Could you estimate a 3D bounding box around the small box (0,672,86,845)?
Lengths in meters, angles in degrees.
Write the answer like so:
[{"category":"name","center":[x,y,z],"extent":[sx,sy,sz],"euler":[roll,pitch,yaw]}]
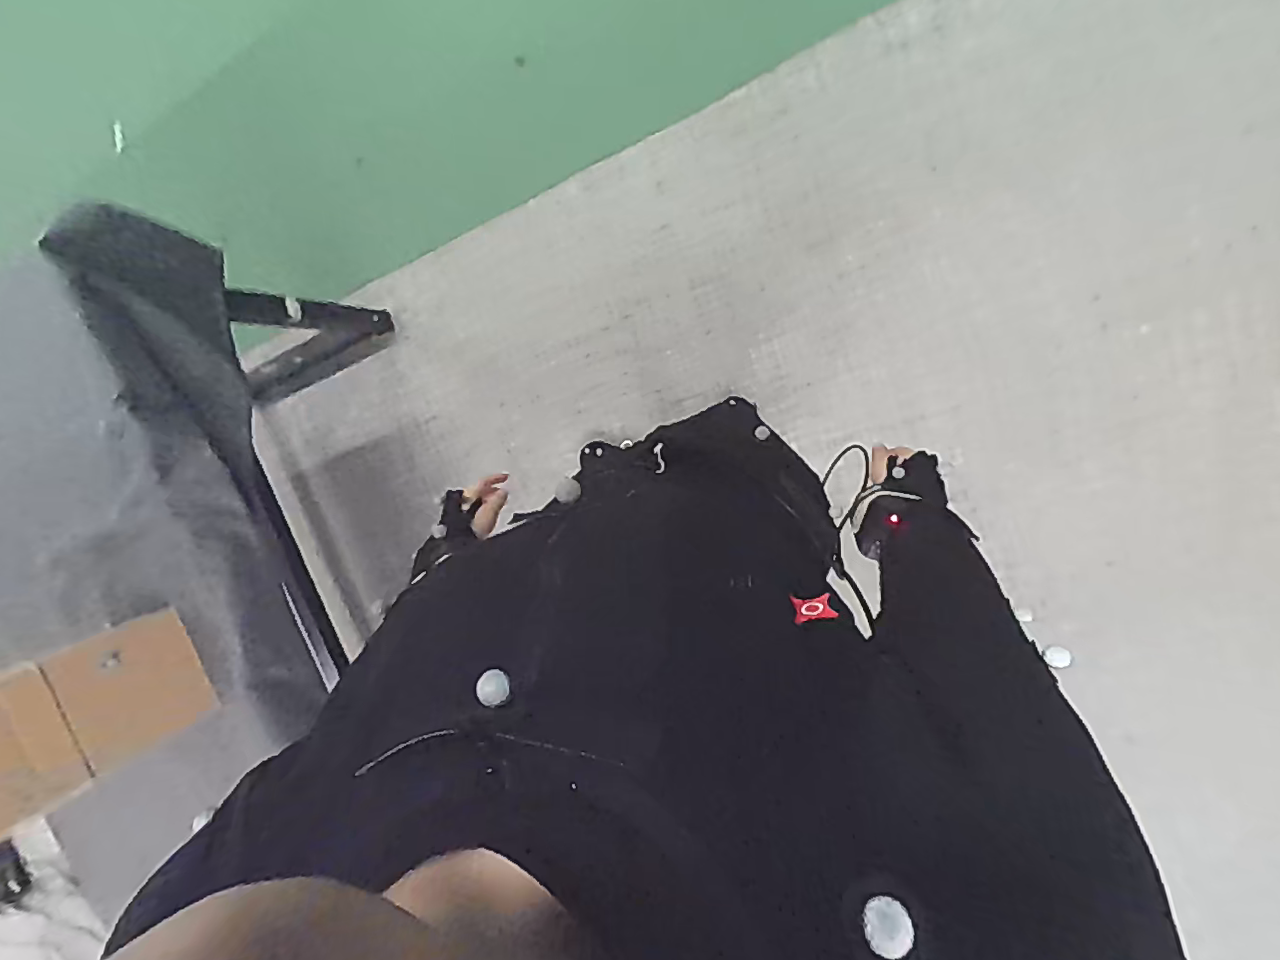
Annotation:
[{"category":"small box","center":[-0.815,0.354,0.627],"extent":[0.168,0.176,0.179],"euler":[-19,95,16]}]
